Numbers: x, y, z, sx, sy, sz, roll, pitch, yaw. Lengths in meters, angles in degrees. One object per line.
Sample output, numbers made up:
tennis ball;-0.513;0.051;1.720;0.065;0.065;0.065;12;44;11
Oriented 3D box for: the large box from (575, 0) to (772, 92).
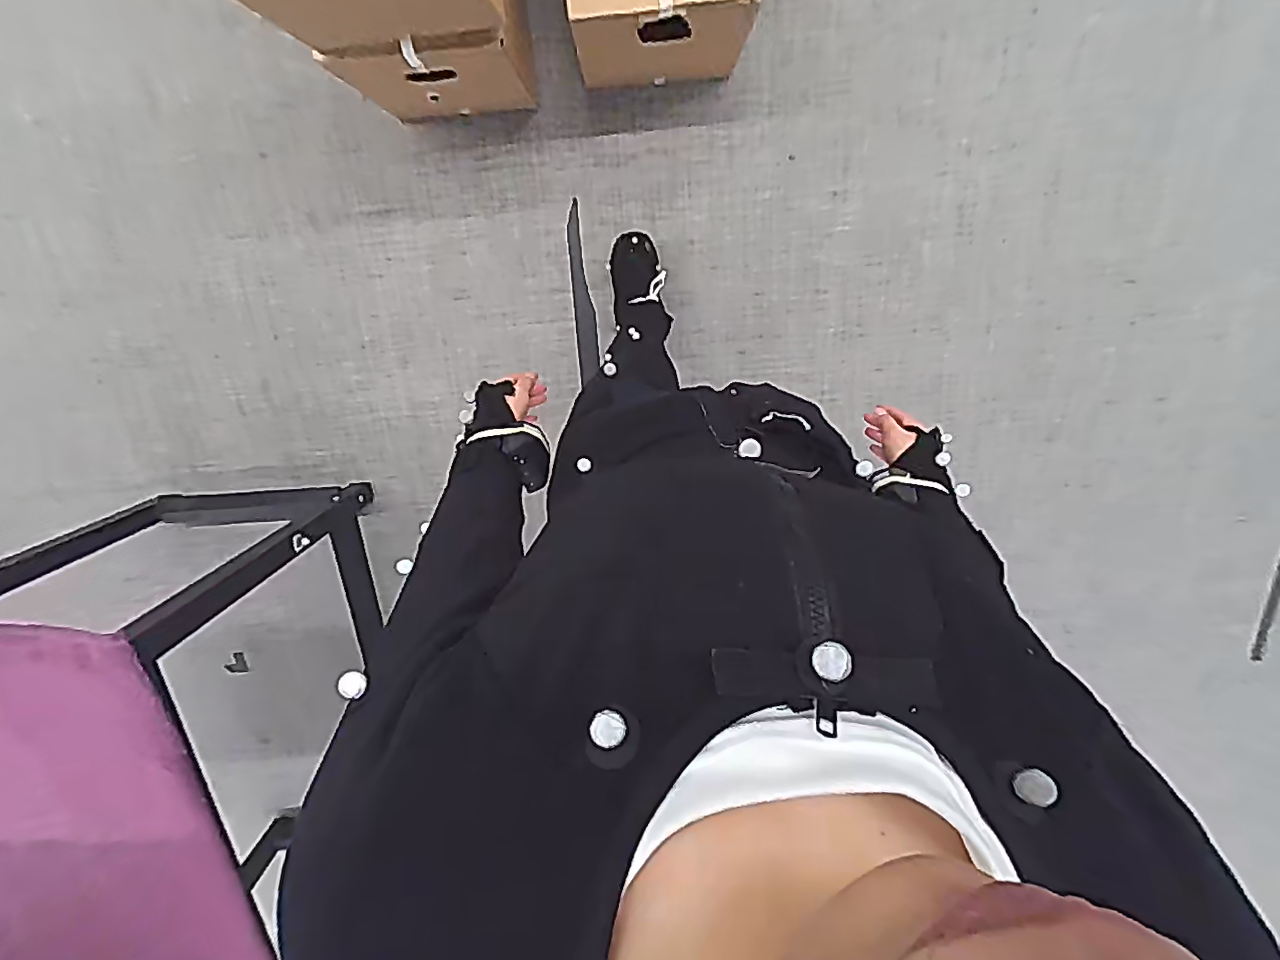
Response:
large box;0.033;-0.966;0.927;0.320;0.320;0.408;-5;109;3
